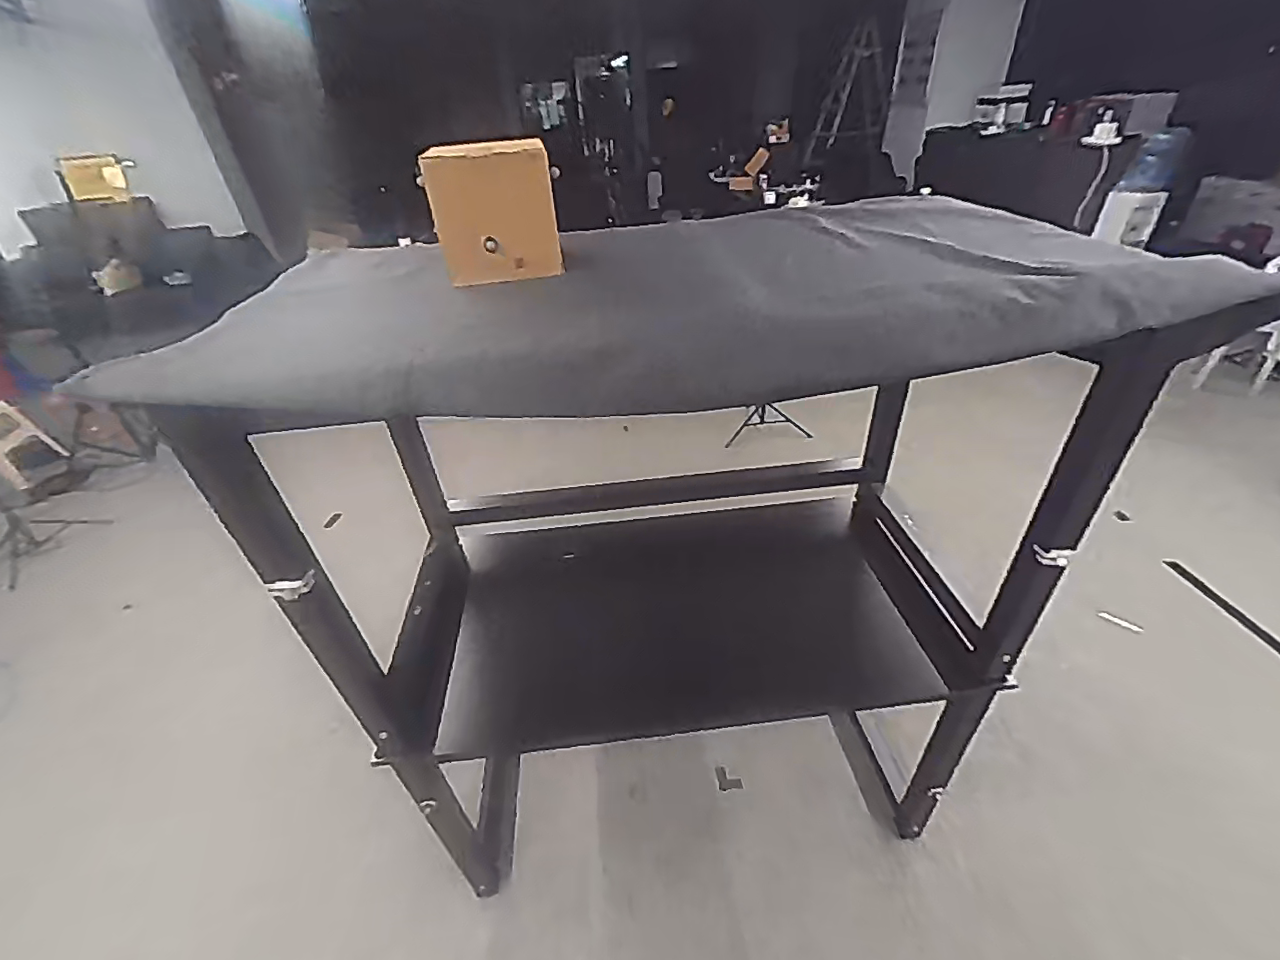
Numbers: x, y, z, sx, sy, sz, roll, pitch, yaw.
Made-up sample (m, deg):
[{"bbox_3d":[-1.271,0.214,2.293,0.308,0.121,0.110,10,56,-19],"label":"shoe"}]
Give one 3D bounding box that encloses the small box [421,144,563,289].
[{"bbox_3d":[-0.213,-0.399,0.816,0.168,0.176,0.179,-10,37,-7],"label":"small box"}]
